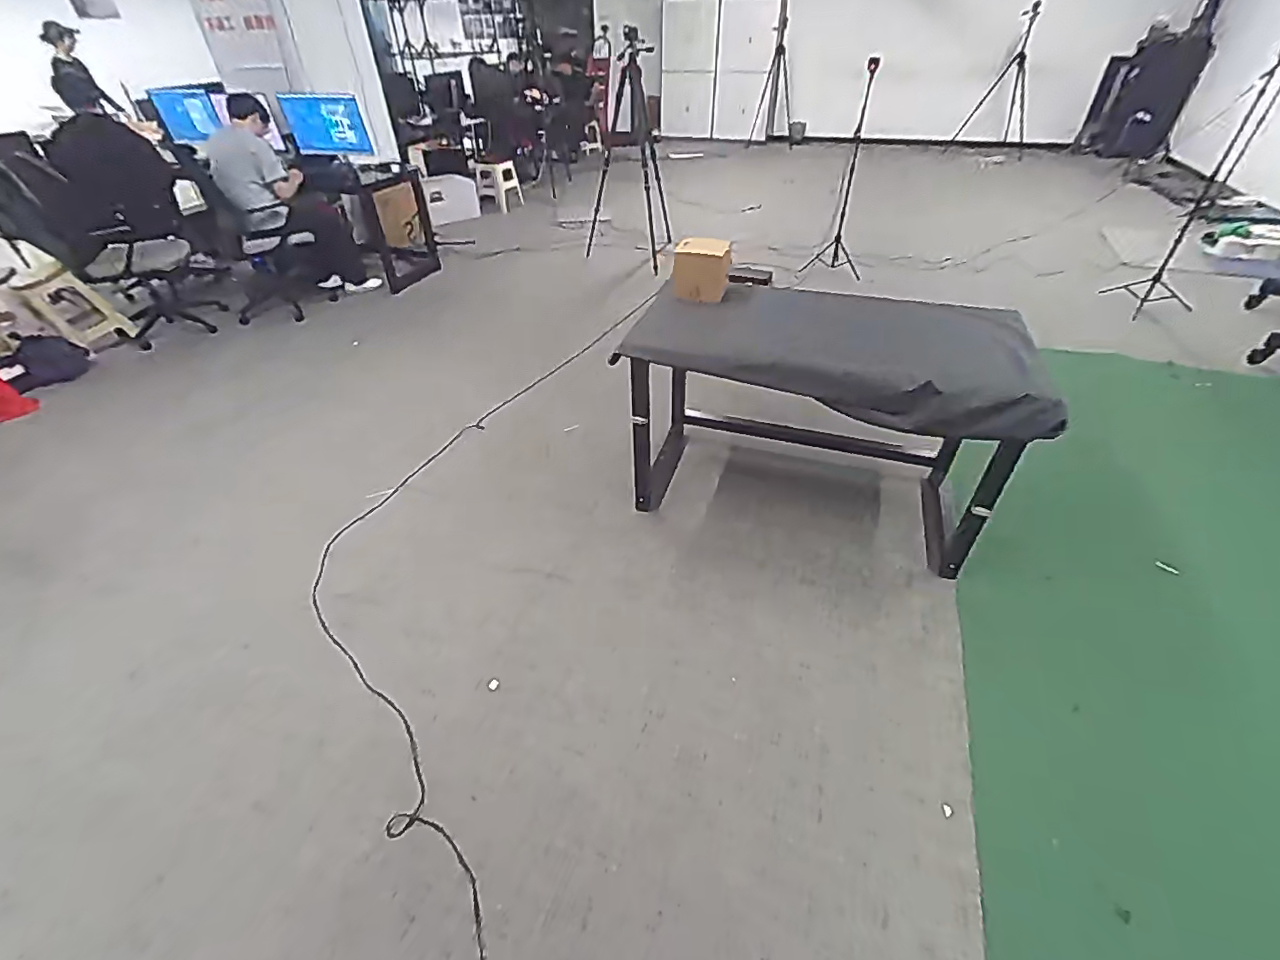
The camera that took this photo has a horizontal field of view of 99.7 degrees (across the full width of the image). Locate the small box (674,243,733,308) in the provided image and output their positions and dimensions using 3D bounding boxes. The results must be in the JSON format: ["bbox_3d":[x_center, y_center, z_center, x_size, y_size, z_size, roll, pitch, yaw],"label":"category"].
[{"bbox_3d":[0.229,-0.741,1.963,0.179,0.176,0.168,12,42,14],"label":"small box"}]
